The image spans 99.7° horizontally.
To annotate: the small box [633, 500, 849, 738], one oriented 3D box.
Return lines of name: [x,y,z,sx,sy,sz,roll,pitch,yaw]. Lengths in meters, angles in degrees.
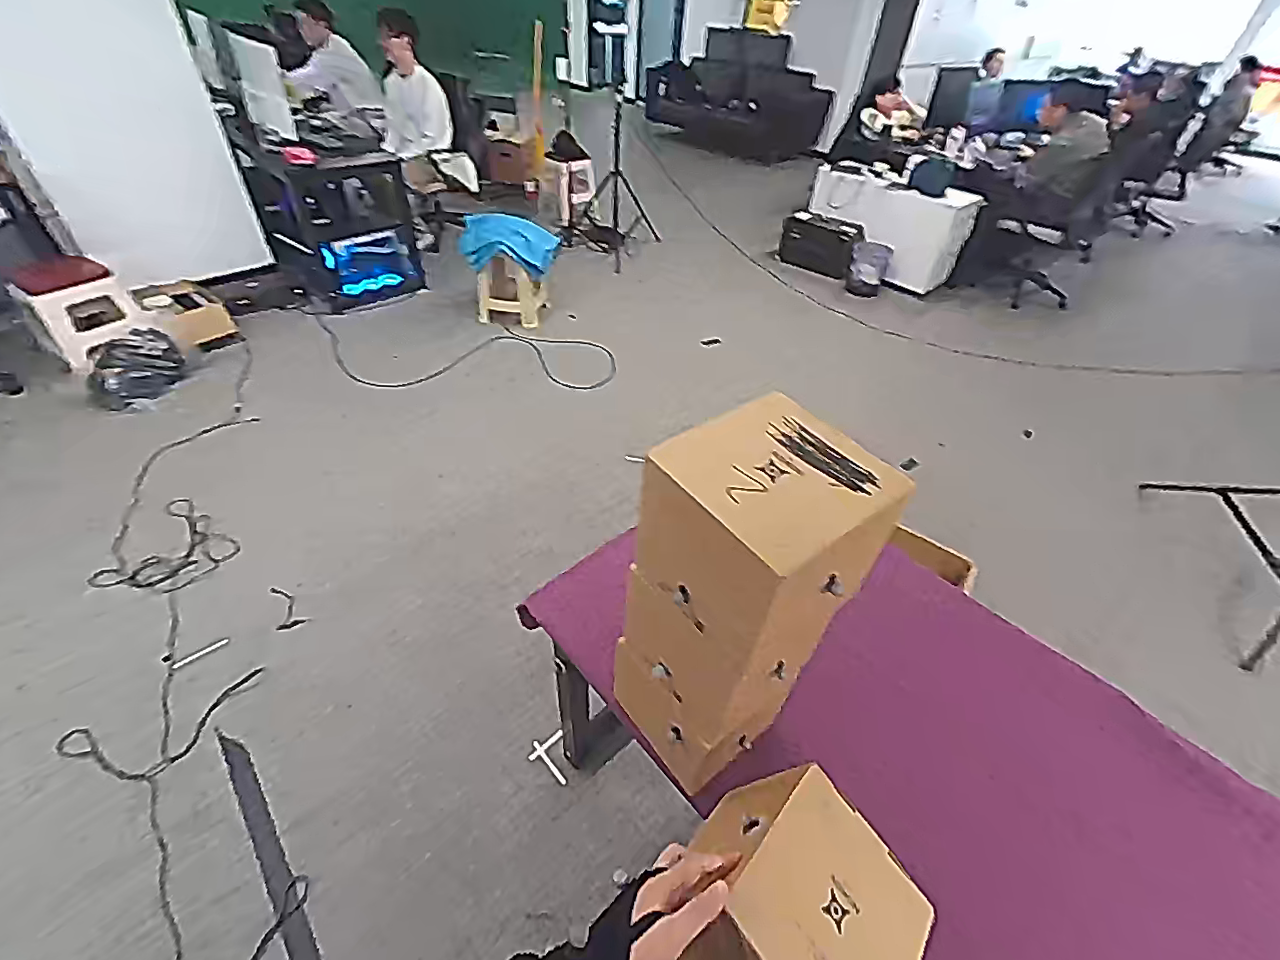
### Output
small box: [0.105,0.161,0.639,0.179,0.176,0.168,-28,52,-28]

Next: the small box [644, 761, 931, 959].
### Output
small box: [0.135,0.416,0.523,0.179,0.176,0.168,-26,69,-44]

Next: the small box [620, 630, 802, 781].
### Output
small box: [0.087,0.282,0.748,0.168,0.176,0.179,-26,51,-29]
